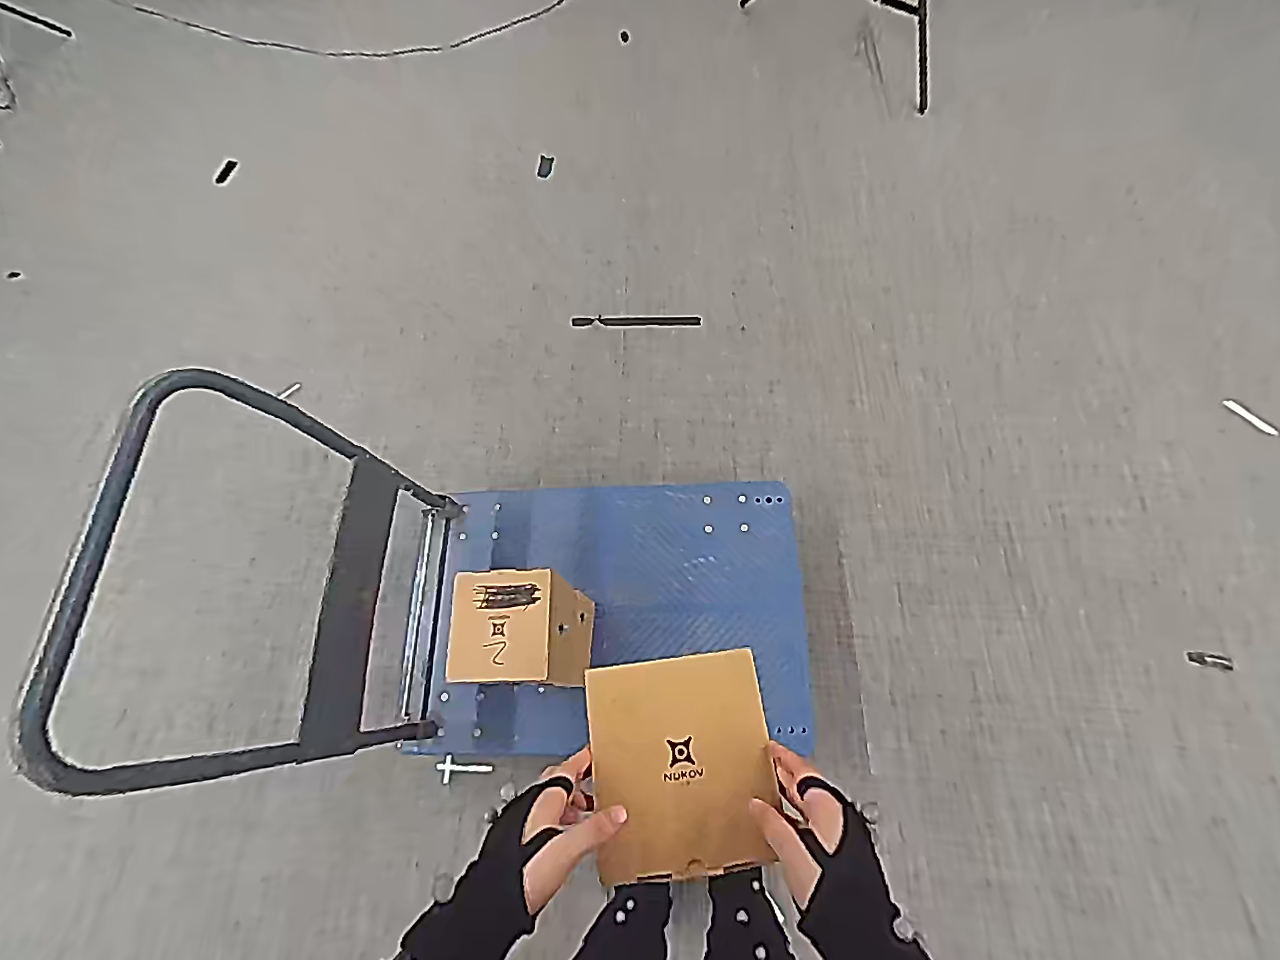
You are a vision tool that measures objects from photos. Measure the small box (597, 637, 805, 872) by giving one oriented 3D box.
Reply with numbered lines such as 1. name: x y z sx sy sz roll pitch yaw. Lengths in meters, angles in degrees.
1. small box: 0.051 0.275 0.562 0.168 0.176 0.179 -8 65 -1

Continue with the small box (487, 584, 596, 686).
1. small box: -0.188 0.316 1.089 0.168 0.176 0.179 1 69 7
